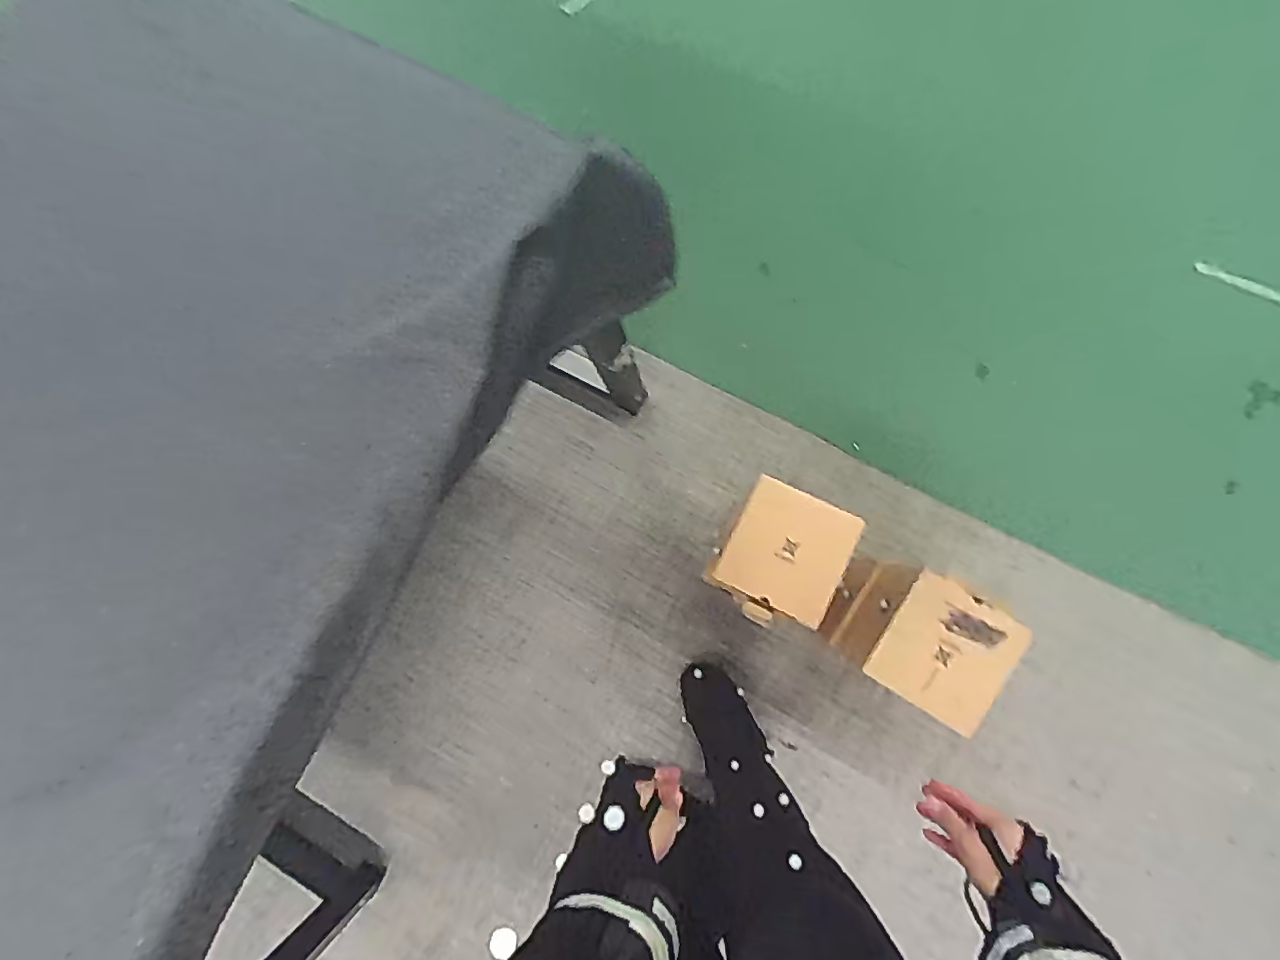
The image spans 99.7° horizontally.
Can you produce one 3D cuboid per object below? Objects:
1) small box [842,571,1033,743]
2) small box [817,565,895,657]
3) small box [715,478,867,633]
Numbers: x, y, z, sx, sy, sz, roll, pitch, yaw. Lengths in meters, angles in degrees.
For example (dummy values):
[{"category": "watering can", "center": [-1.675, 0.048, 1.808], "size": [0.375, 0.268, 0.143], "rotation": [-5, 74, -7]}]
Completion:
[{"category": "small box", "center": [0.435, 0.253, 0.827], "size": [0.168, 0.176, 0.179], "rotation": [32, 88, 10]}, {"category": "small box", "center": [0.447, 0.268, 0.990], "size": [0.168, 0.176, 0.179], "rotation": [32, 89, 10]}, {"category": "small box", "center": [0.227, 0.118, 0.865], "size": [0.168, 0.176, 0.179], "rotation": [26, 86, 8]}]
